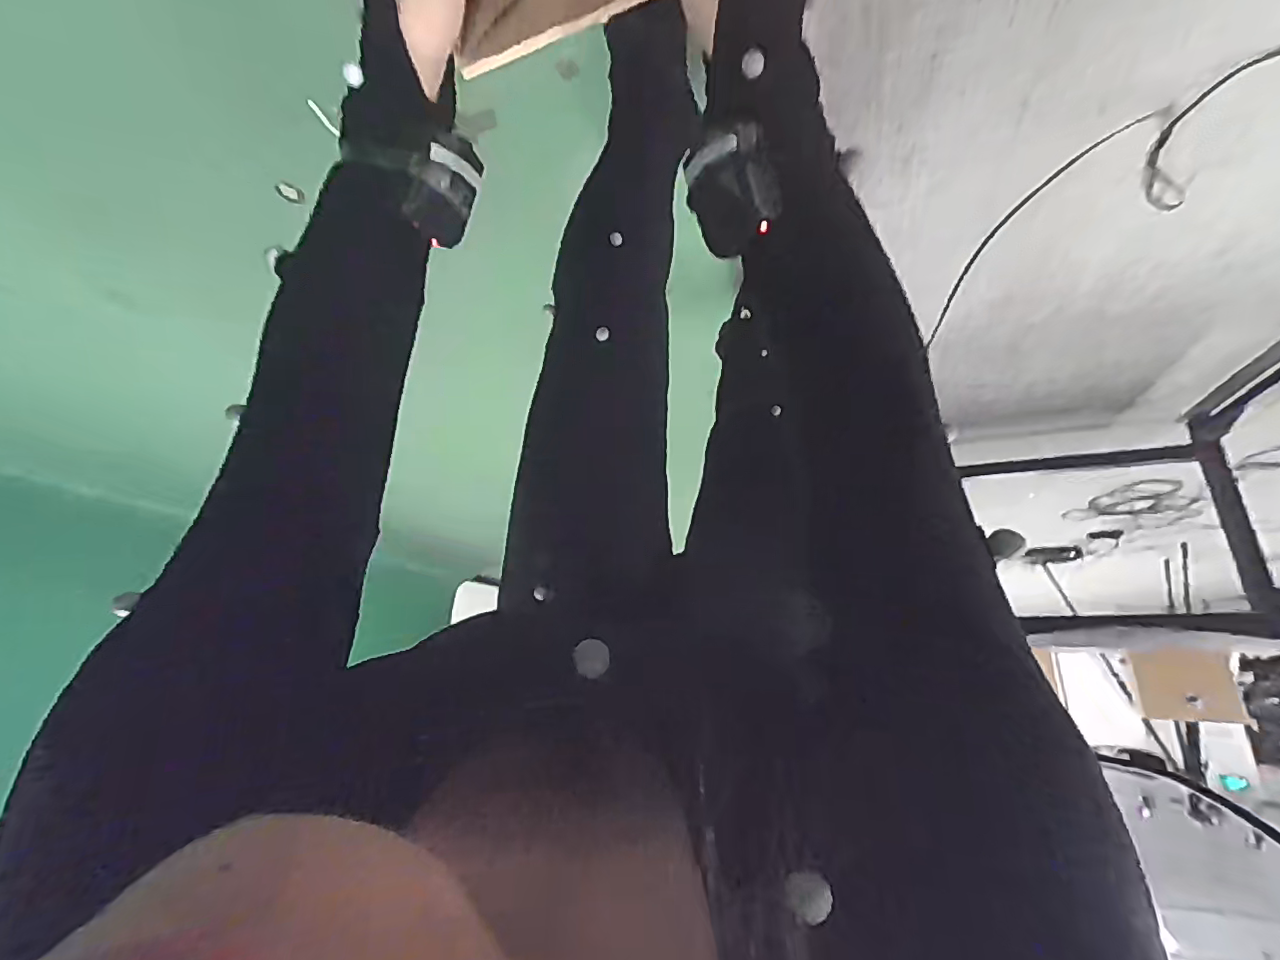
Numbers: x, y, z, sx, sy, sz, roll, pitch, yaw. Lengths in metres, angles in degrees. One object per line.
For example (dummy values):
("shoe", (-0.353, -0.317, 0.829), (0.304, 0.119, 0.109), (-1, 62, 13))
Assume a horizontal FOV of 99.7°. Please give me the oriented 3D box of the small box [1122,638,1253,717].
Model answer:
("small box", (1.311, 0.472, 1.308), (0.179, 0.176, 0.168), (-12, 157, 34))
